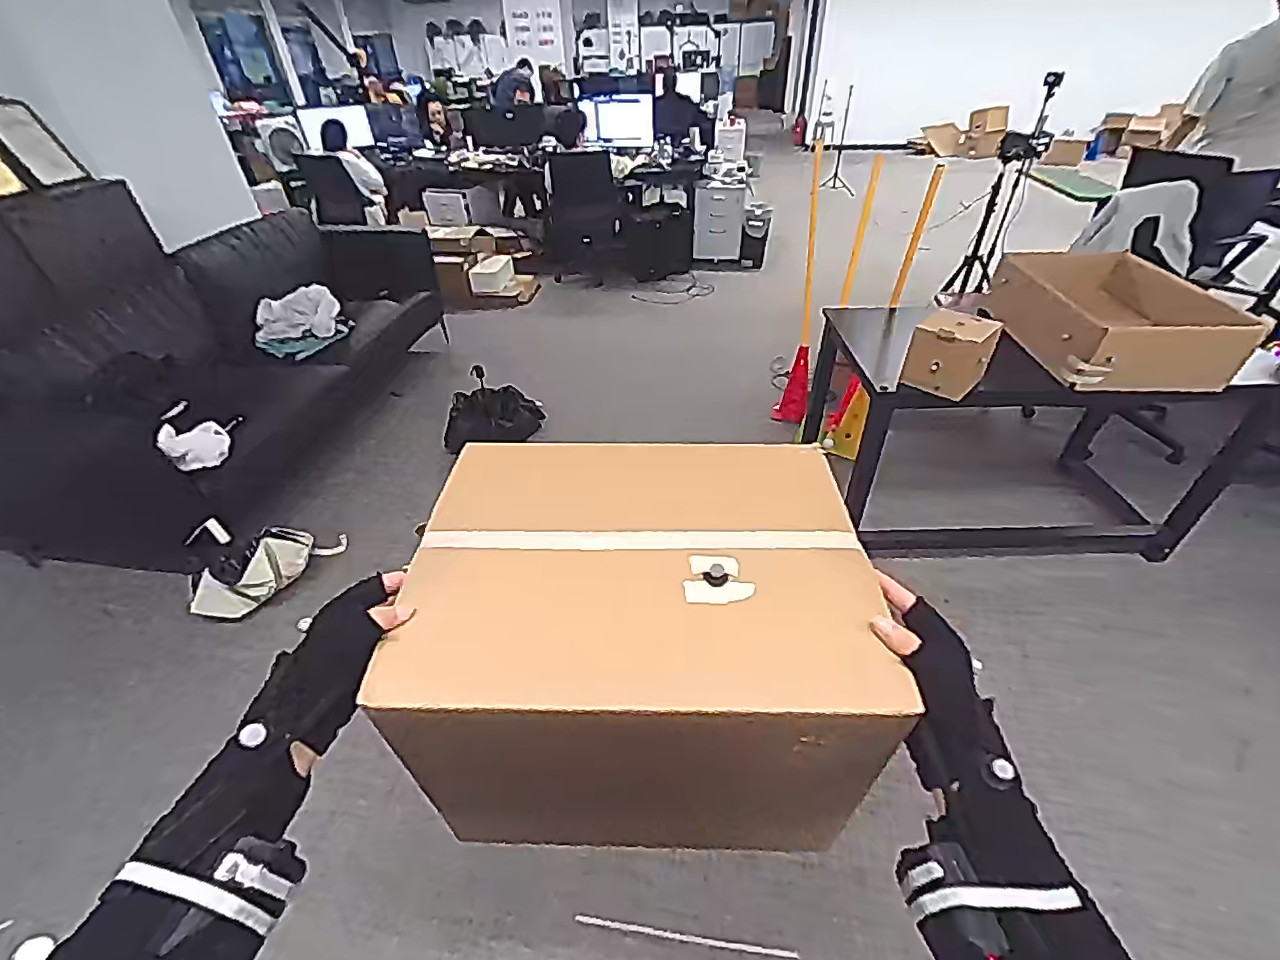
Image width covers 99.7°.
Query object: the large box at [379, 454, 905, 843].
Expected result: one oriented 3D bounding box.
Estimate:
[{"bbox_3d":[-0.001,0.181,0.608,0.408,0.320,0.320,1,41,0],"label":"large box"}]
